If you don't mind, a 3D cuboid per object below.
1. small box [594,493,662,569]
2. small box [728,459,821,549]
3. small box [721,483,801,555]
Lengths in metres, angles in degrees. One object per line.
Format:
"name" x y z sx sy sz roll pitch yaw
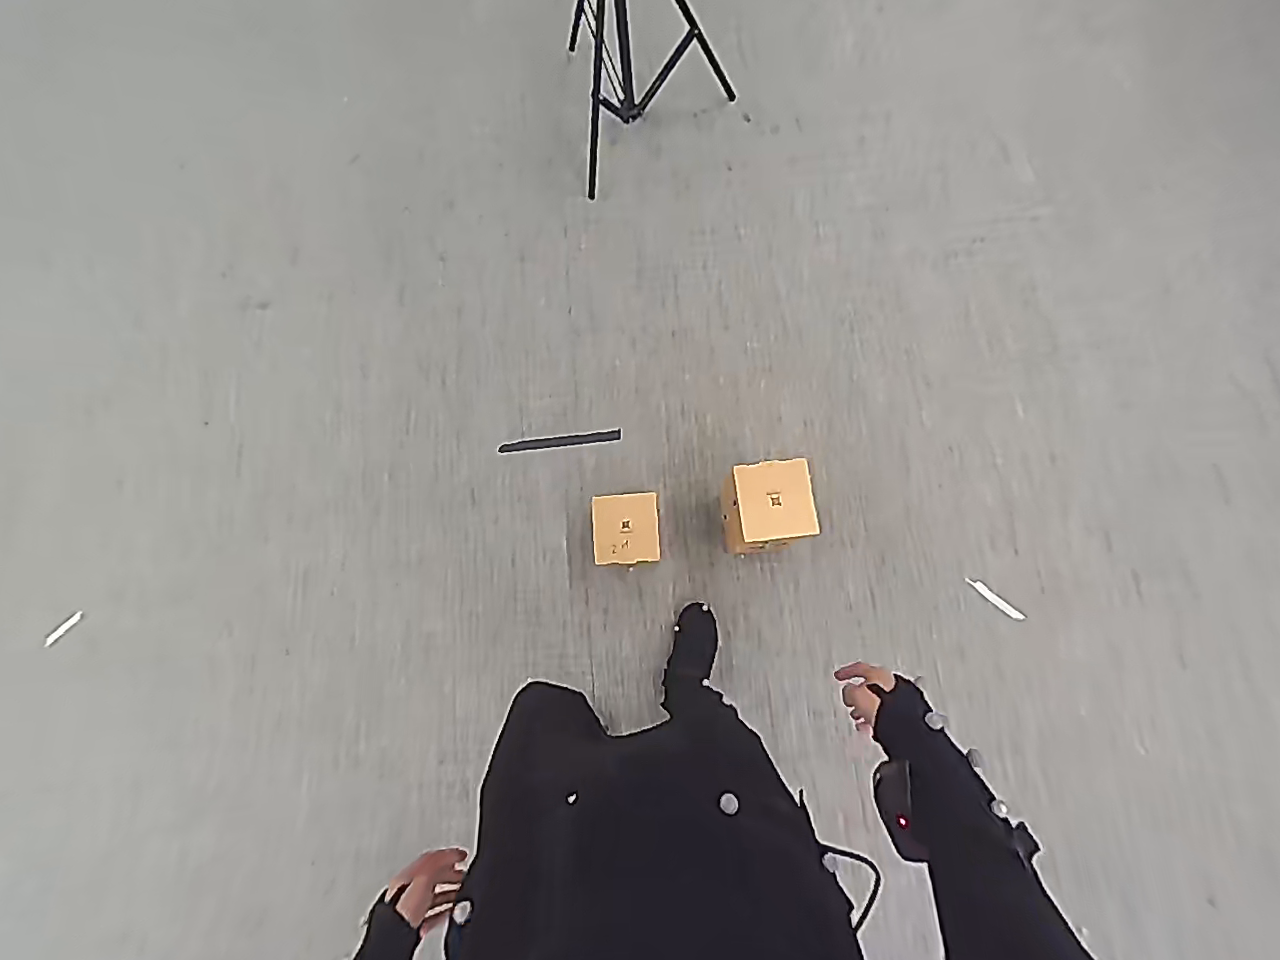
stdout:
"small box" -0.029 0.139 1.421 0.168 0.176 0.179 -4 78 3
"small box" 0.303 0.063 1.253 0.168 0.176 0.179 -7 76 2
"small box" 0.309 0.099 1.411 0.168 0.176 0.179 -8 76 1
